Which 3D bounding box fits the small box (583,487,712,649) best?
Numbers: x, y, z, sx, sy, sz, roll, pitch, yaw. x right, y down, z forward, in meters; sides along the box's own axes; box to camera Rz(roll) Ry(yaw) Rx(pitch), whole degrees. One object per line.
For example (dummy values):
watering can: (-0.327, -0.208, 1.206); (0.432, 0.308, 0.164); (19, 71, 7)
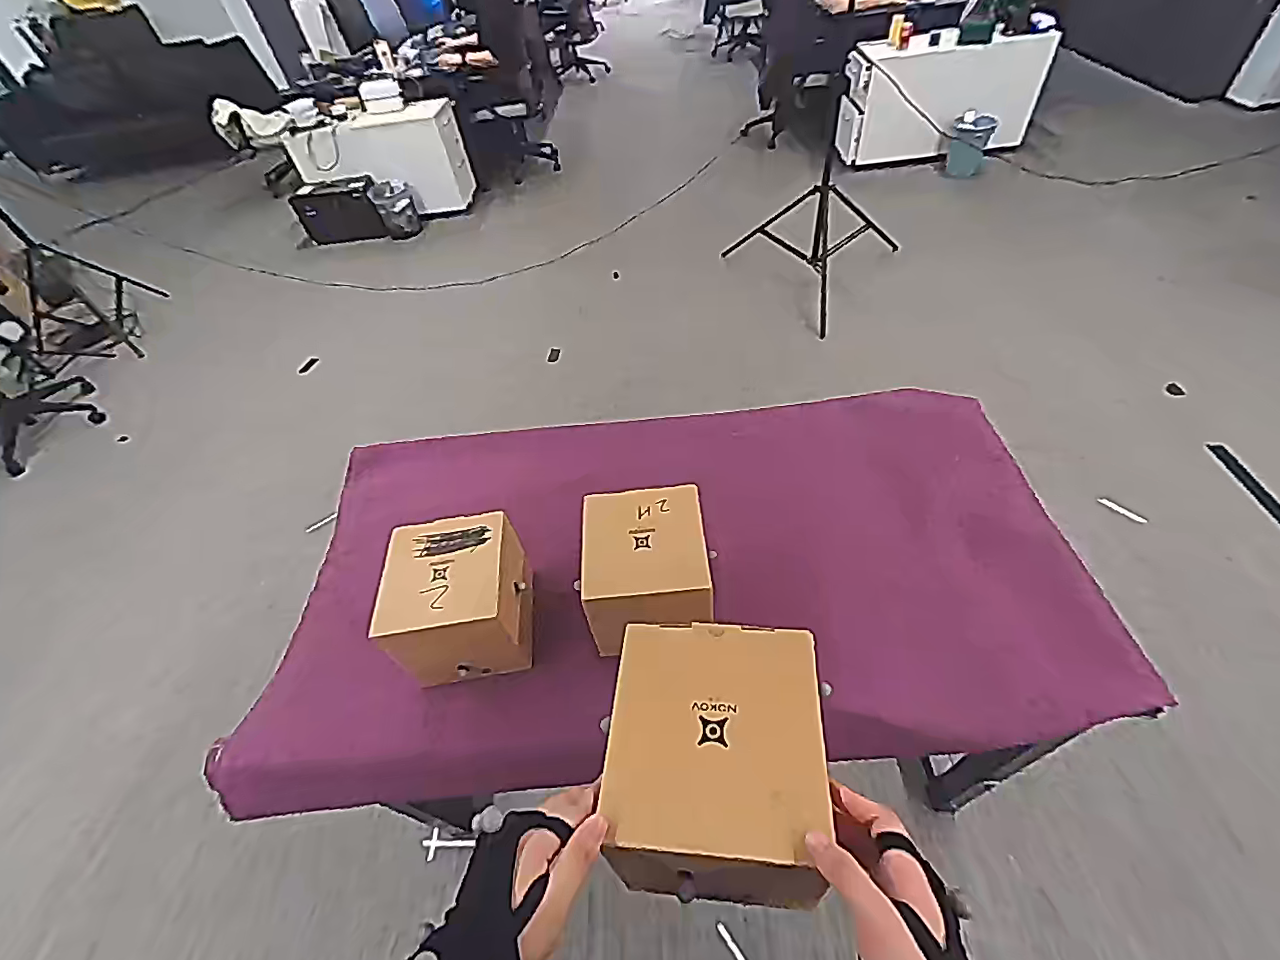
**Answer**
small box: (0.014, 0.134, 0.789); (0.168, 0.176, 0.179); (-5, 47, 2)
